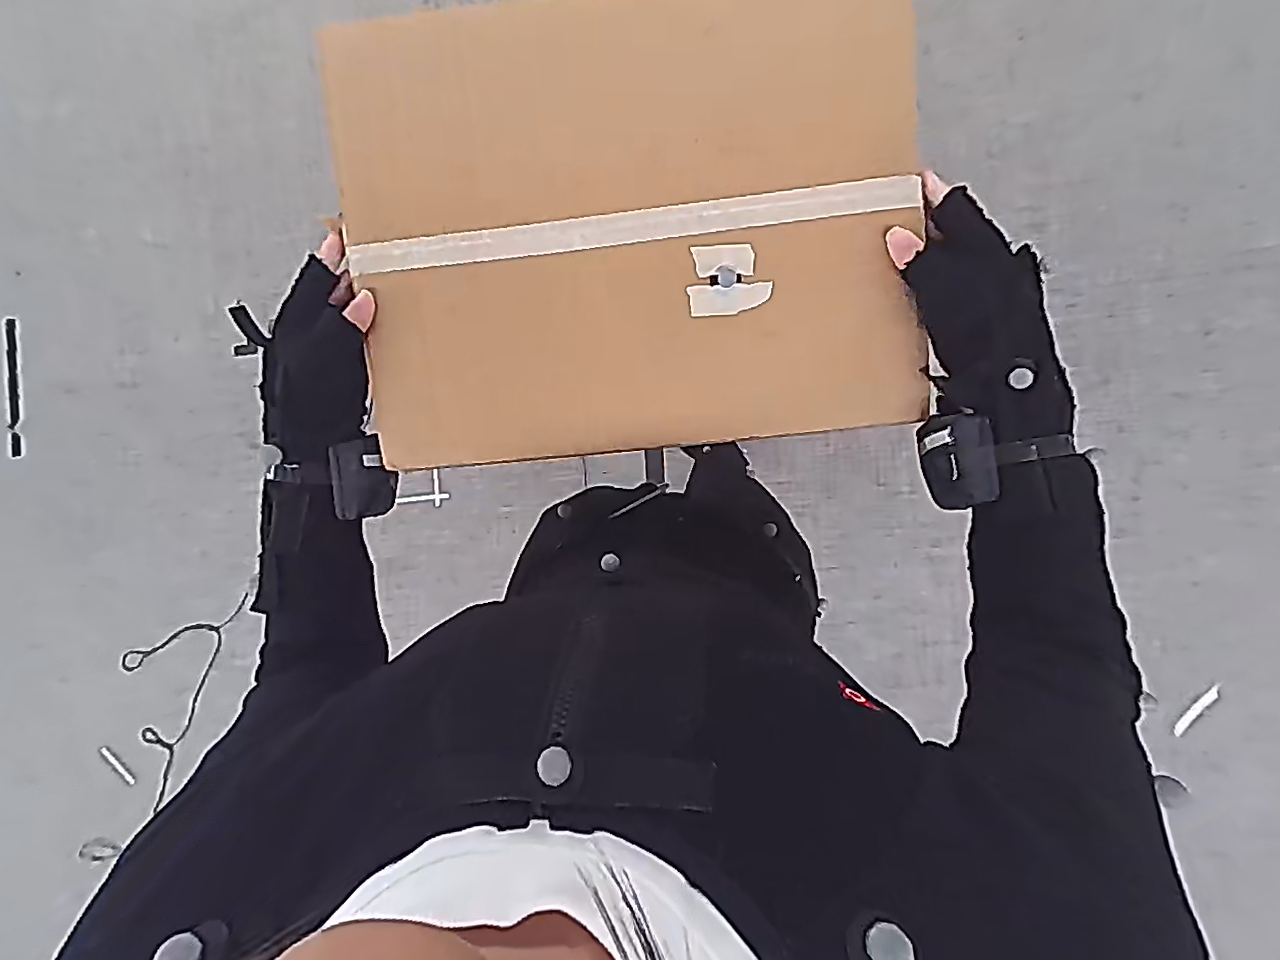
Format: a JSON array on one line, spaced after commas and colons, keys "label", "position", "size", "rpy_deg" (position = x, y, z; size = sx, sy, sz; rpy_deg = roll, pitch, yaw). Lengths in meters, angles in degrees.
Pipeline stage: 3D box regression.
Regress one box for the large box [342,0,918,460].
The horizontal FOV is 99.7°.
[{"label": "large box", "position": [-0.001, -0.204, 0.545], "size": [0.408, 0.320, 0.320], "rpy_deg": [-6, 97, 3]}]
